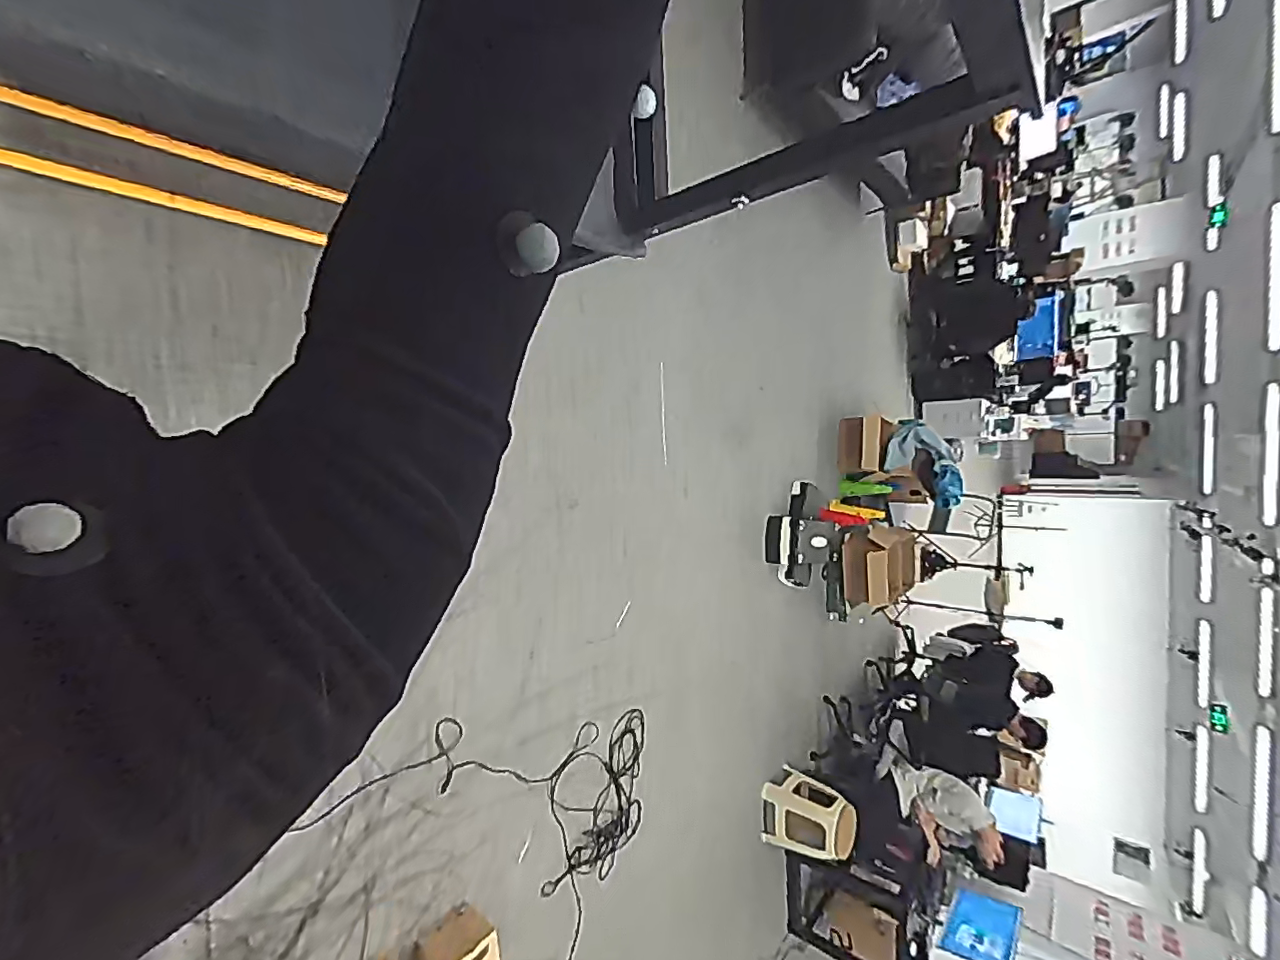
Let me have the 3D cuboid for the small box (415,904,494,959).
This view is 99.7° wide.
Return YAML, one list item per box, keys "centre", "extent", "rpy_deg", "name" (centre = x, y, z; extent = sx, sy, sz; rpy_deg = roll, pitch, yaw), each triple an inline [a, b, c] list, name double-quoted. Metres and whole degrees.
- centre: [-0.559, 1.428, 1.623]
  extent: [0.168, 0.176, 0.179]
  rpy_deg: [-9, 99, -50]
  name: "small box"
